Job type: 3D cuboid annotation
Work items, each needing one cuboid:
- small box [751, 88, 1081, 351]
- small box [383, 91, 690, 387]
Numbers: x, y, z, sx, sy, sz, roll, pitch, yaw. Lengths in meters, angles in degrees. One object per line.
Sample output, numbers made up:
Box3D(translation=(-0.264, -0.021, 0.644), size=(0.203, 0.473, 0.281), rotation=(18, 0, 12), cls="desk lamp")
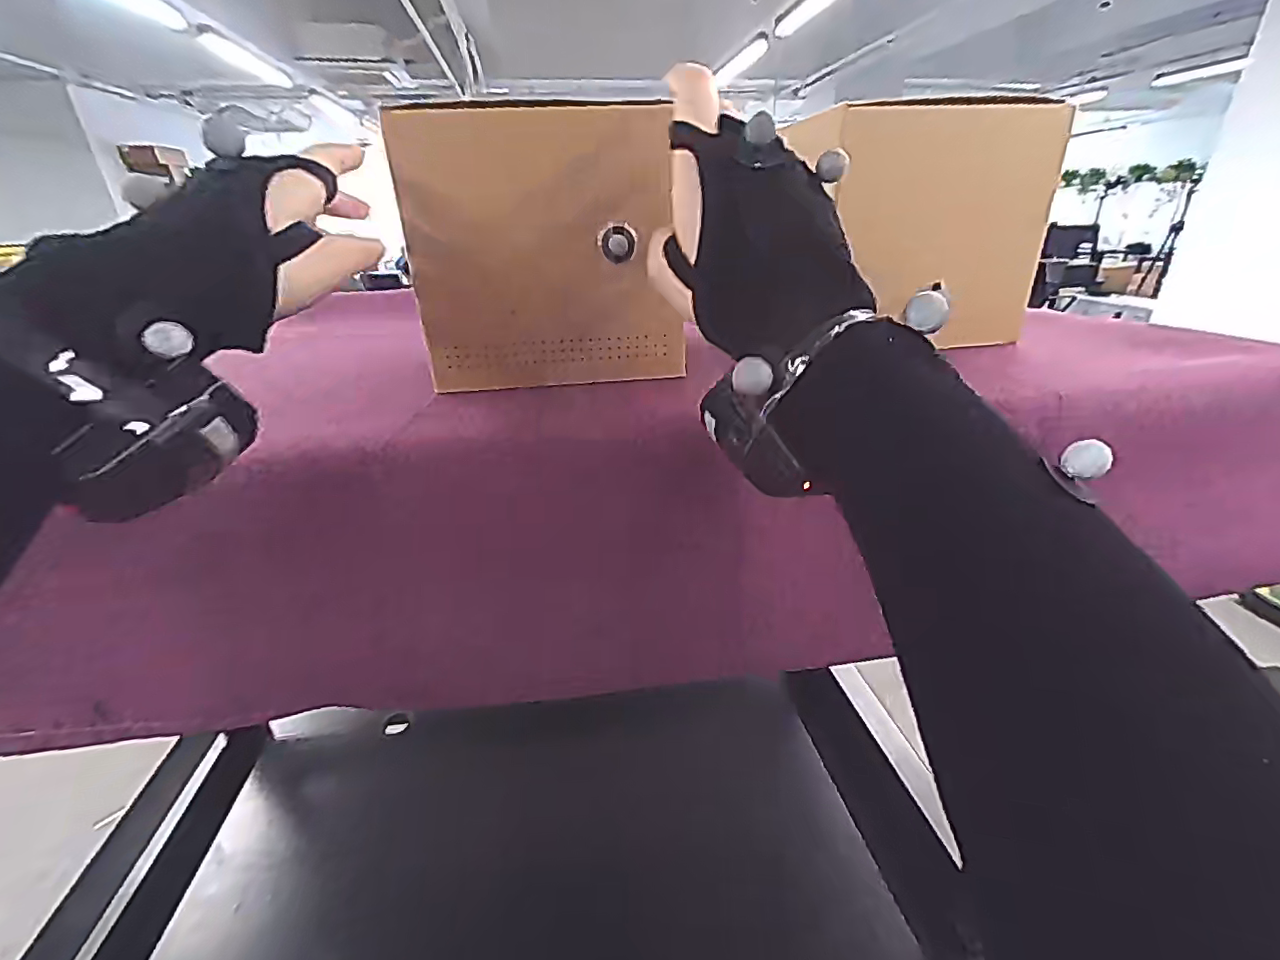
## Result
Box3D(translation=(0.206, -0.212, 0.460), size=(0.179, 0.176, 0.168), rotation=(-6, 25, -8), cls="small box")
Box3D(translation=(-0.063, -0.176, 0.412), size=(0.179, 0.176, 0.168), rotation=(-5, 25, -5), cls="small box")
